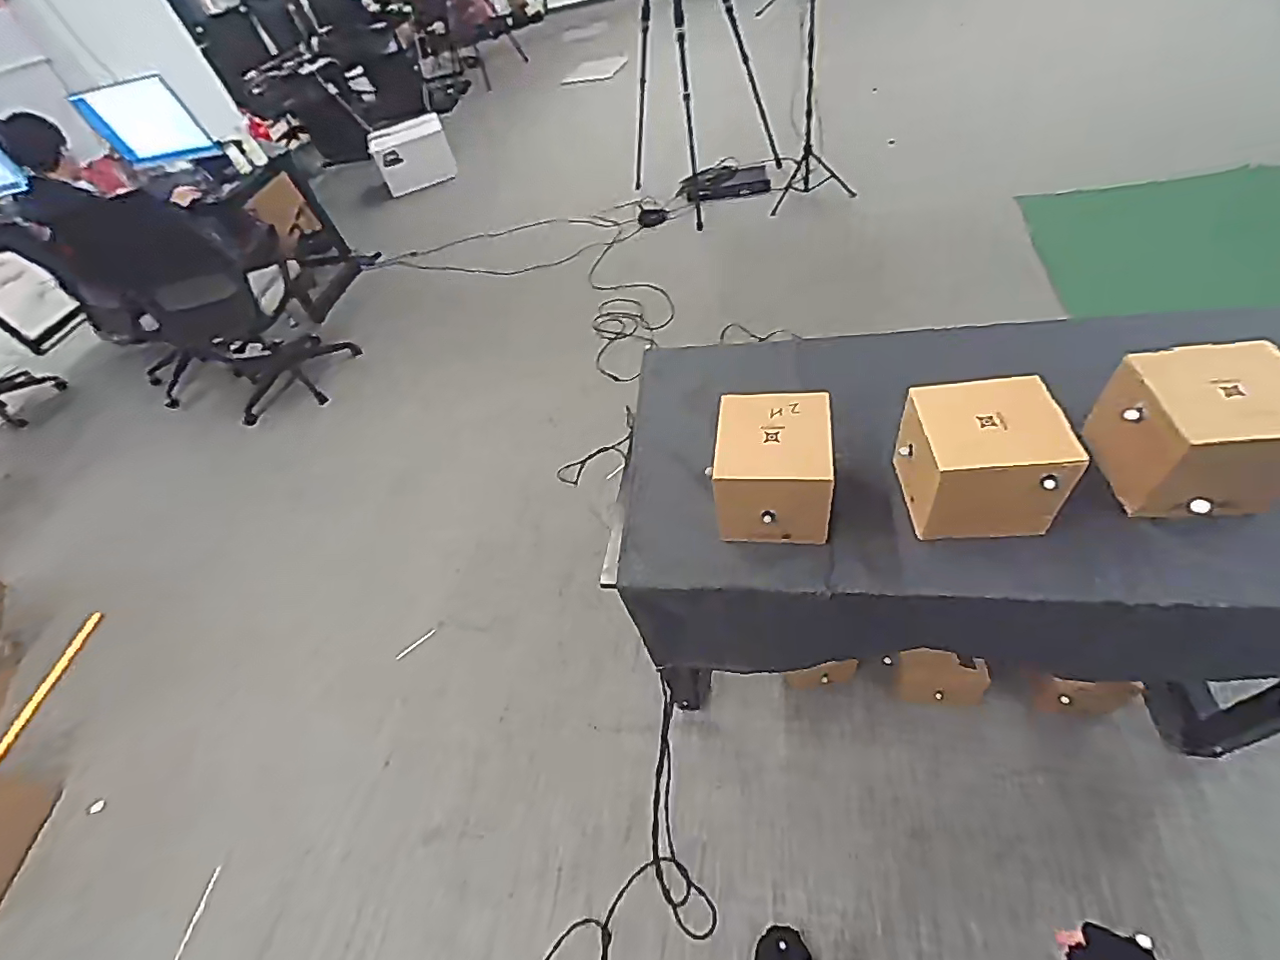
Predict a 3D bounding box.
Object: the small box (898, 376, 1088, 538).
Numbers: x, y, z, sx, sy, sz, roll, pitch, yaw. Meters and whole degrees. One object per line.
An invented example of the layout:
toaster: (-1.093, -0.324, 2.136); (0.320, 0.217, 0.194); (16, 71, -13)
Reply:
small box: (0.491, -0.027, 0.792); (0.179, 0.176, 0.168); (-4, 51, 11)

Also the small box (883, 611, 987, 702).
small box: (0.706, 0.431, 1.316); (0.179, 0.176, 0.168); (-3, 51, 14)

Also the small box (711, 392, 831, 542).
small box: (0.209, -0.017, 0.852); (0.168, 0.176, 0.179); (1, 52, 15)

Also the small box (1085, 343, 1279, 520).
small box: (0.768, -0.063, 0.749); (0.168, 0.176, 0.179); (-3, 51, 13)
